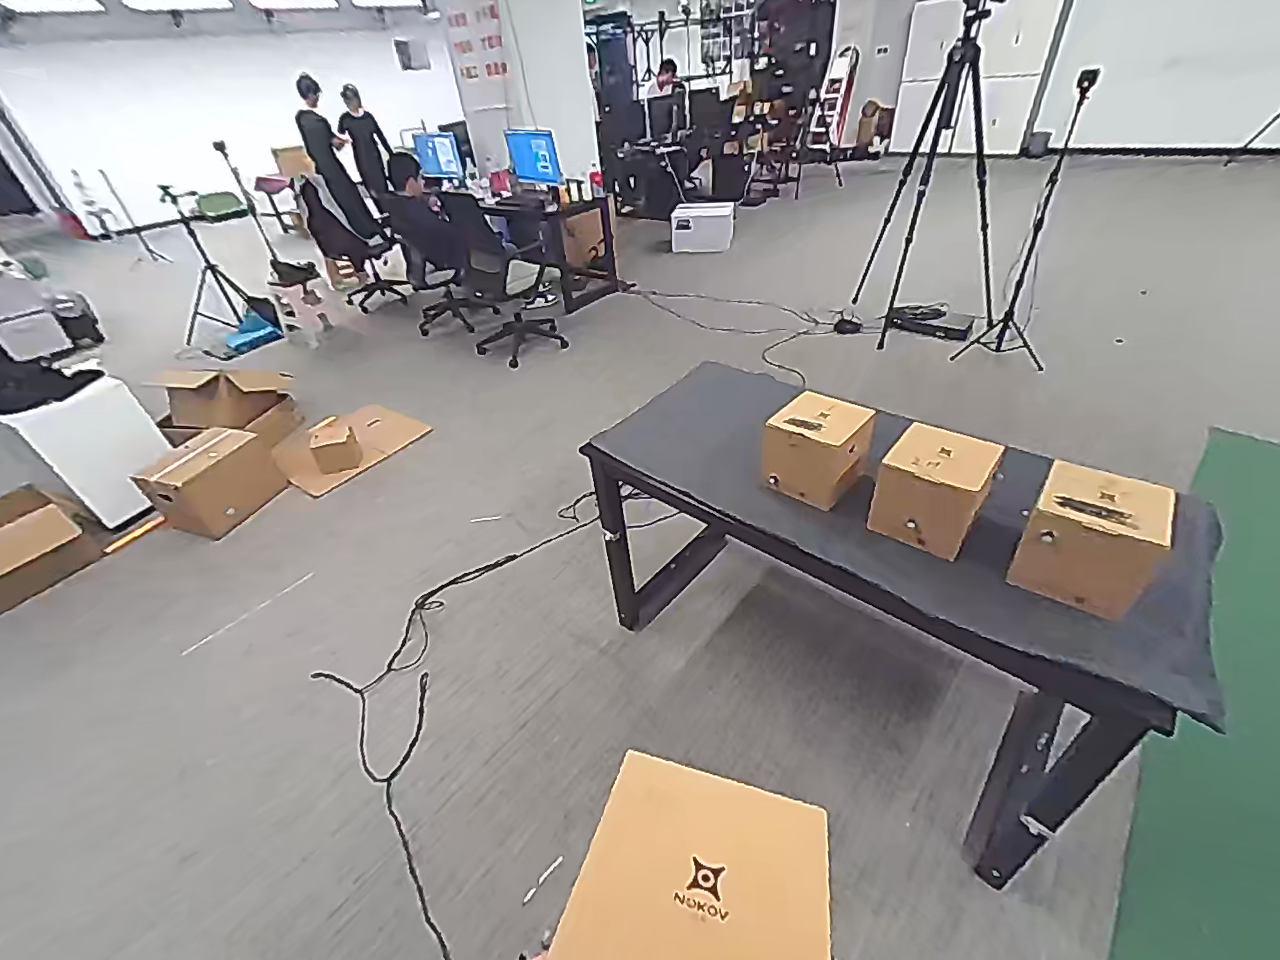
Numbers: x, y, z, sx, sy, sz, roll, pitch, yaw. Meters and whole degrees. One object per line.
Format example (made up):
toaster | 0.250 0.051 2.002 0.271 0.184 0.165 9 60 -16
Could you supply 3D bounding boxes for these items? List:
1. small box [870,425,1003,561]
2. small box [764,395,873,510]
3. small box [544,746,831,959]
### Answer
small box | 0.569 0.022 1.054 0.168 0.176 0.179 24 46 34
small box | 0.387 -0.061 1.191 0.168 0.176 0.179 26 47 35
small box | 0.036 0.343 0.392 0.168 0.176 0.179 11 23 13
